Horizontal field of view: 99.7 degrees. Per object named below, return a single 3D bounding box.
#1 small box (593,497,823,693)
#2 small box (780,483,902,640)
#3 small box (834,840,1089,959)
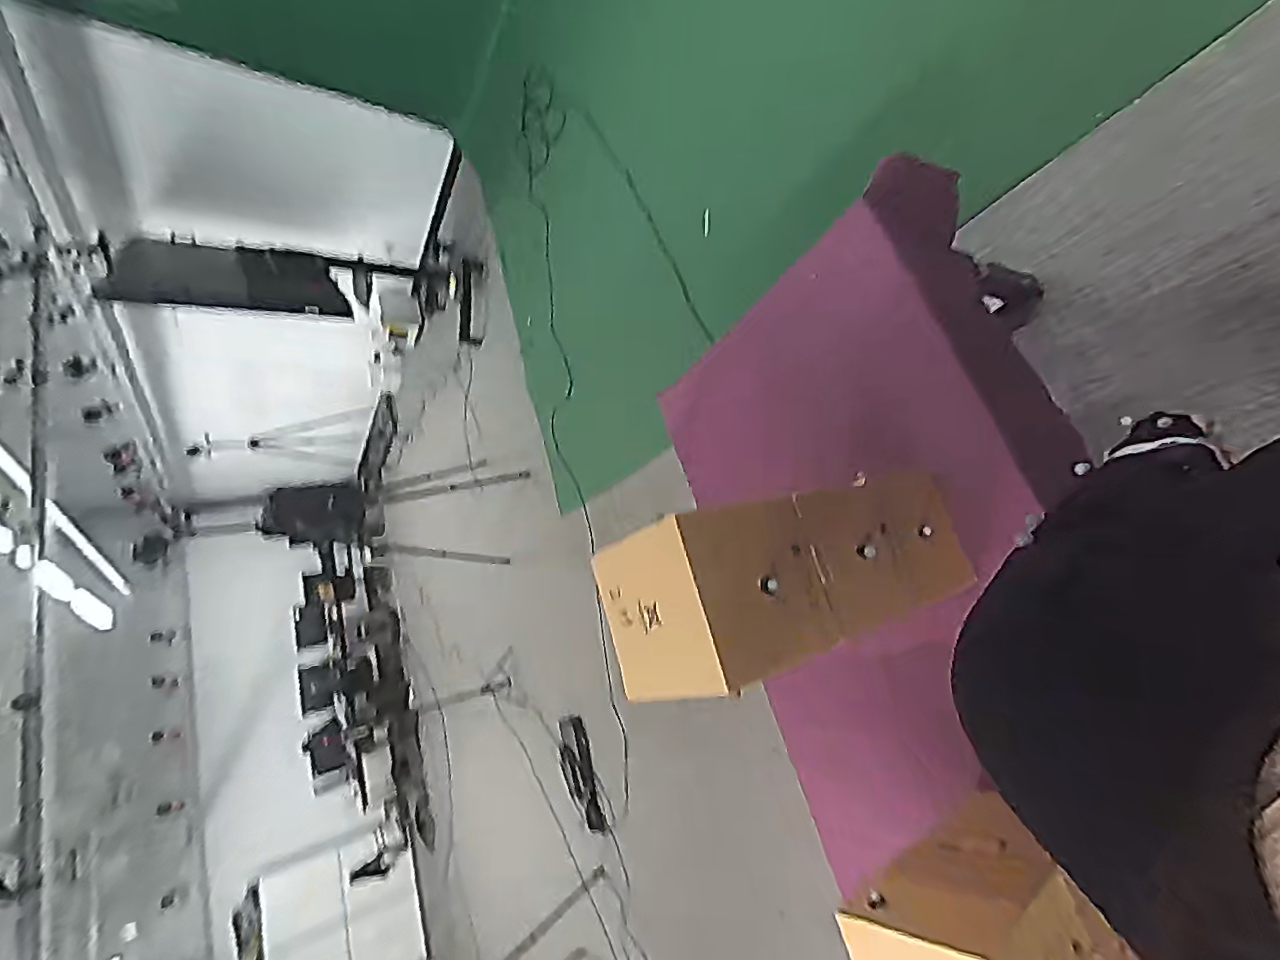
[{"bbox_3d":[0.076,0.125,0.600,0.179,0.176,0.168,-33,68,51],"label":"small box"},{"bbox_3d":[0.208,0.109,0.699,0.179,0.176,0.168,-31,70,51],"label":"small box"},{"bbox_3d":[0.348,0.509,0.566,0.179,0.176,0.168,-37,65,51],"label":"small box"}]
